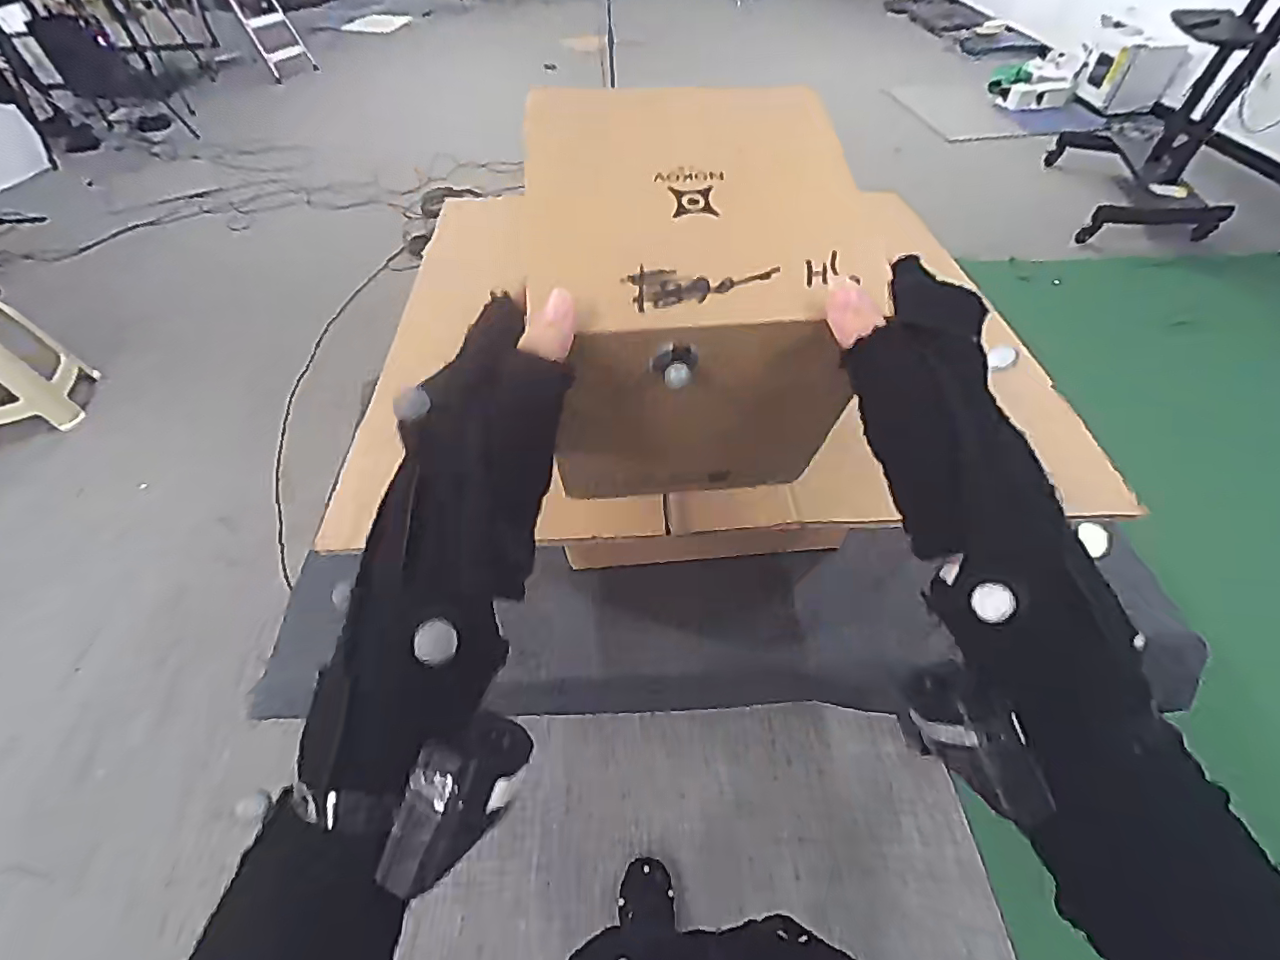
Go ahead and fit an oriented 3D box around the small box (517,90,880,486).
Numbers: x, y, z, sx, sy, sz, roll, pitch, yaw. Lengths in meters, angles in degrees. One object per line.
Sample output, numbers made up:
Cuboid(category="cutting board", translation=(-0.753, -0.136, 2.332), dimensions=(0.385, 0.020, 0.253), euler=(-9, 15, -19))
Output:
Cuboid(category="small box", translation=(0.019, -0.113, 0.348), dimensions=(0.168, 0.176, 0.179), euler=(-4, 63, -3))
